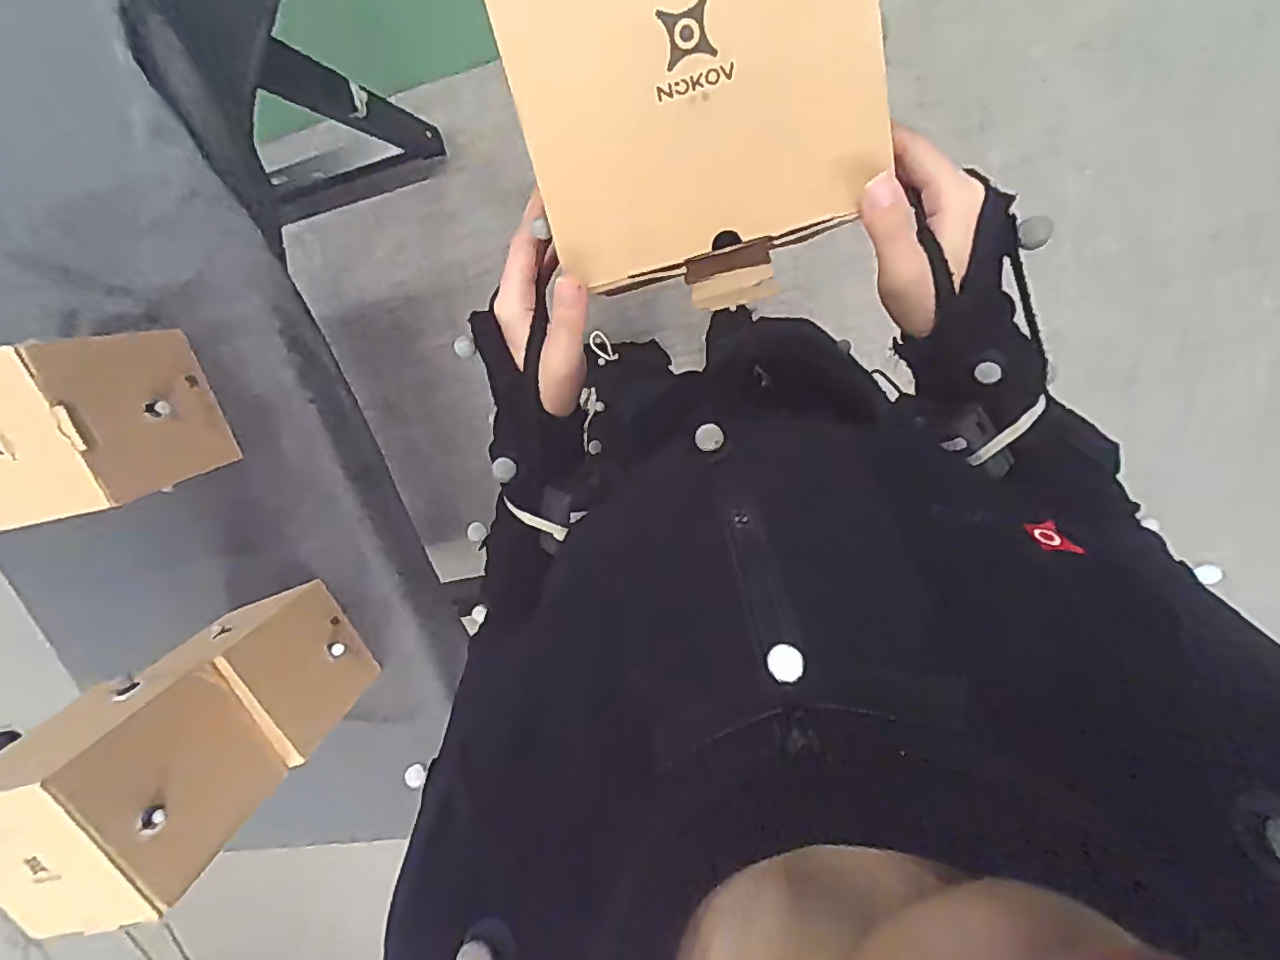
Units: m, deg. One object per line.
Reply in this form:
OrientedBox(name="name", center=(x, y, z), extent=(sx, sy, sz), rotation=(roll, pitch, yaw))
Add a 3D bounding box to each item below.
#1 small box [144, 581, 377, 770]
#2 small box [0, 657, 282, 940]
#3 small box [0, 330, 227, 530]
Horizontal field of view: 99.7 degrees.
OrientedBox(name="small box", center=(-0.490, 0.259, 0.703), extent=(0.179, 0.176, 0.168), rotation=(-21, 107, 13))
OrientedBox(name="small box", center=(-0.523, 0.315, 0.554), extent=(0.168, 0.176, 0.179), rotation=(-17, 106, 11))
OrientedBox(name="small box", center=(-0.611, -0.063, 0.599), extent=(0.179, 0.176, 0.168), rotation=(-11, 109, 10))
